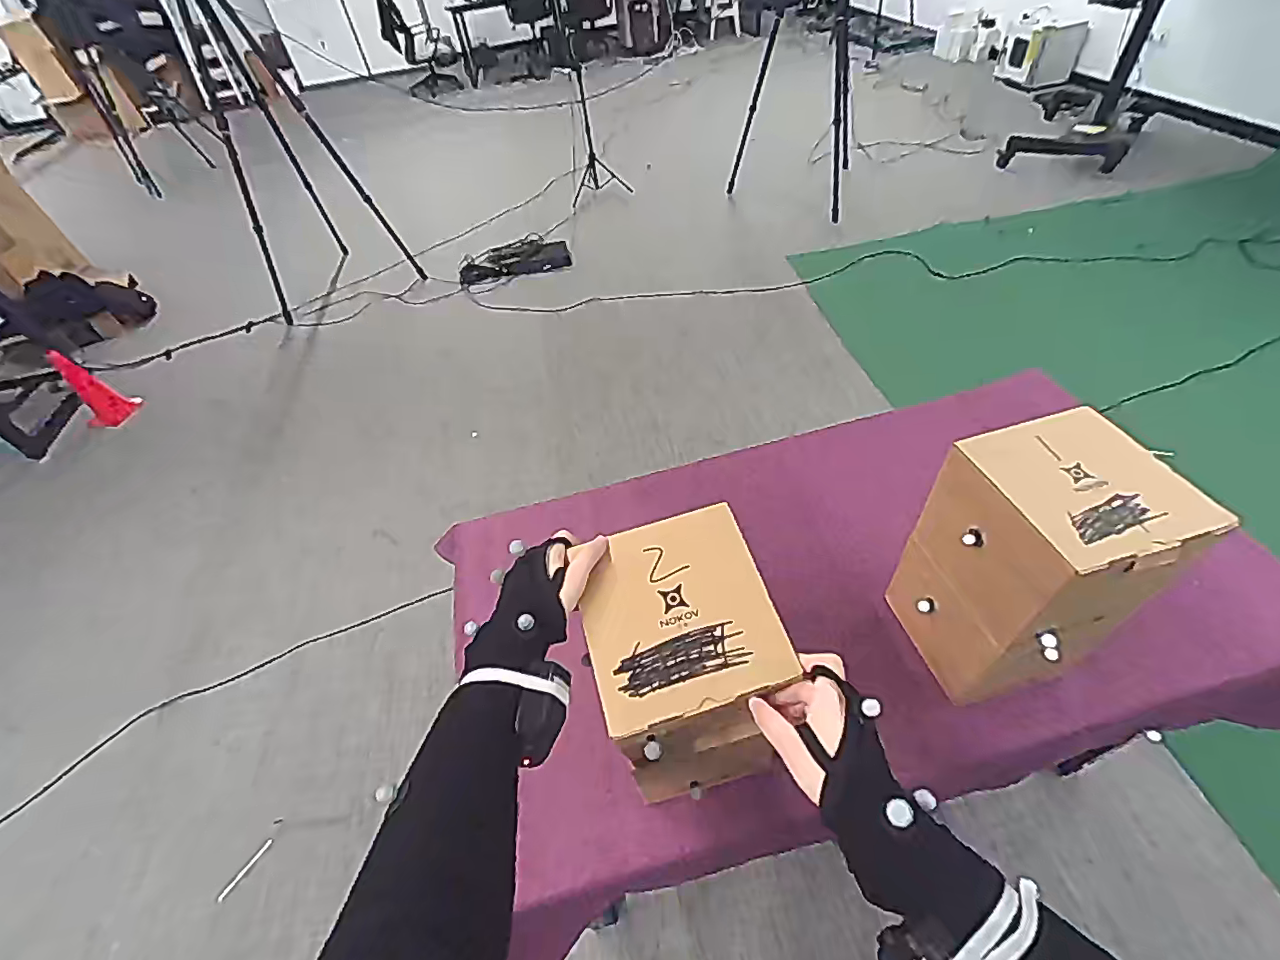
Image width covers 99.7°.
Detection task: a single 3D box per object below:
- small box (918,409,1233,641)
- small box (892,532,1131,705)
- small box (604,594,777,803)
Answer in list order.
[{"bbox_3d":[0.444,0.056,0.592,0.168,0.176,0.179,-15,48,-5],"label":"small box"},{"bbox_3d":[0.462,0.165,0.713,0.168,0.176,0.179,-16,47,-3],"label":"small box"},{"bbox_3d":[0.058,0.276,0.682,0.168,0.176,0.179,-15,49,-3],"label":"small box"}]
